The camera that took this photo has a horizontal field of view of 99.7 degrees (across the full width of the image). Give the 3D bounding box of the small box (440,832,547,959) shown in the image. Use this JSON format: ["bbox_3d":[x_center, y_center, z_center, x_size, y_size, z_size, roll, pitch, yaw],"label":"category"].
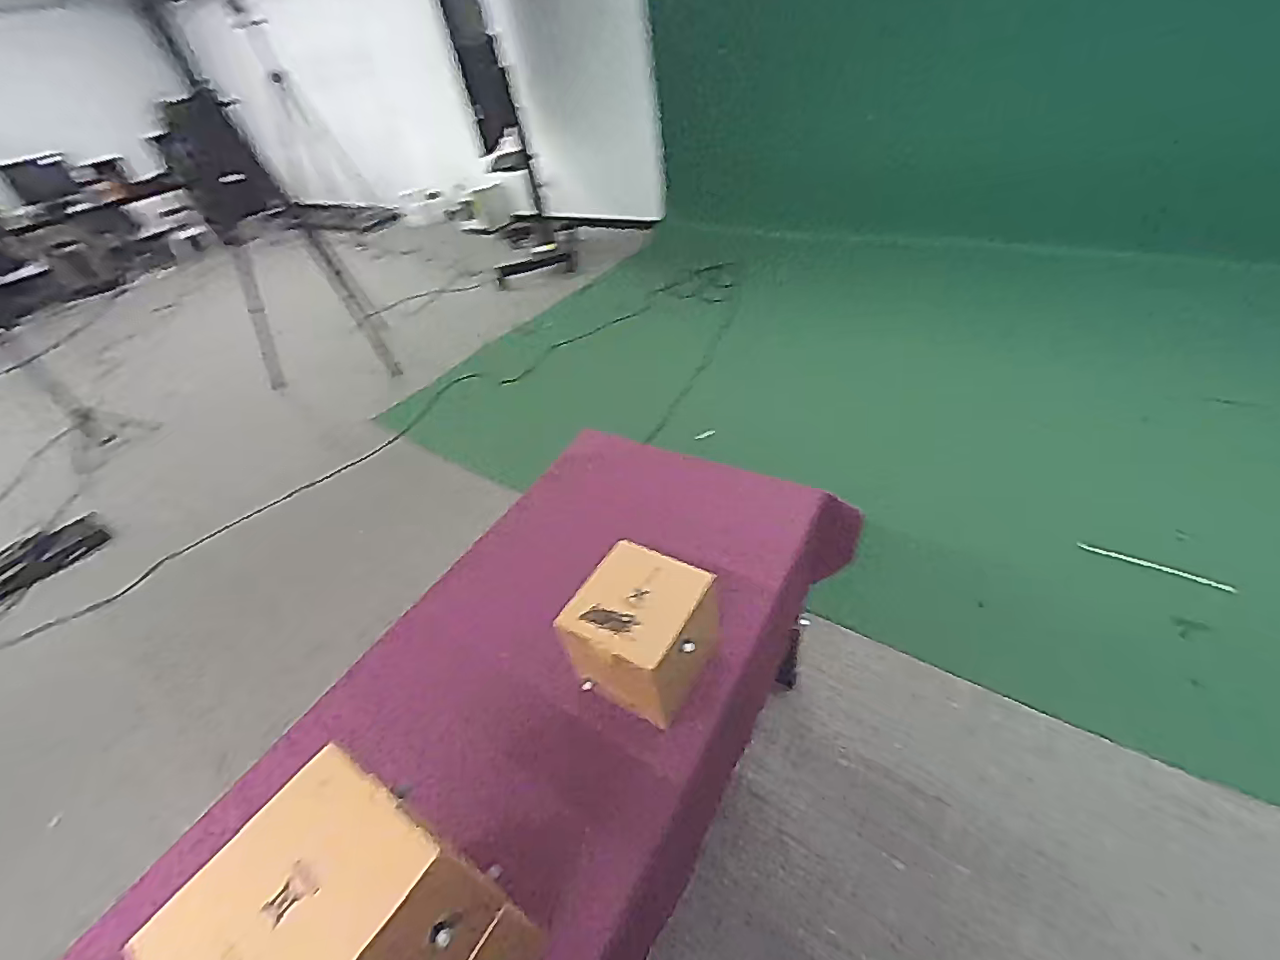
[{"bbox_3d":[-0.230,0.499,0.576,0.179,0.176,0.168,18,50,30],"label":"small box"}]

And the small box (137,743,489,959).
[{"bbox_3d":[-0.255,0.378,0.468,0.168,0.176,0.179,19,50,31],"label":"small box"}]

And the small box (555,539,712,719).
[{"bbox_3d":[0.002,0.226,0.824,0.168,0.176,0.179,17,48,29],"label":"small box"}]
